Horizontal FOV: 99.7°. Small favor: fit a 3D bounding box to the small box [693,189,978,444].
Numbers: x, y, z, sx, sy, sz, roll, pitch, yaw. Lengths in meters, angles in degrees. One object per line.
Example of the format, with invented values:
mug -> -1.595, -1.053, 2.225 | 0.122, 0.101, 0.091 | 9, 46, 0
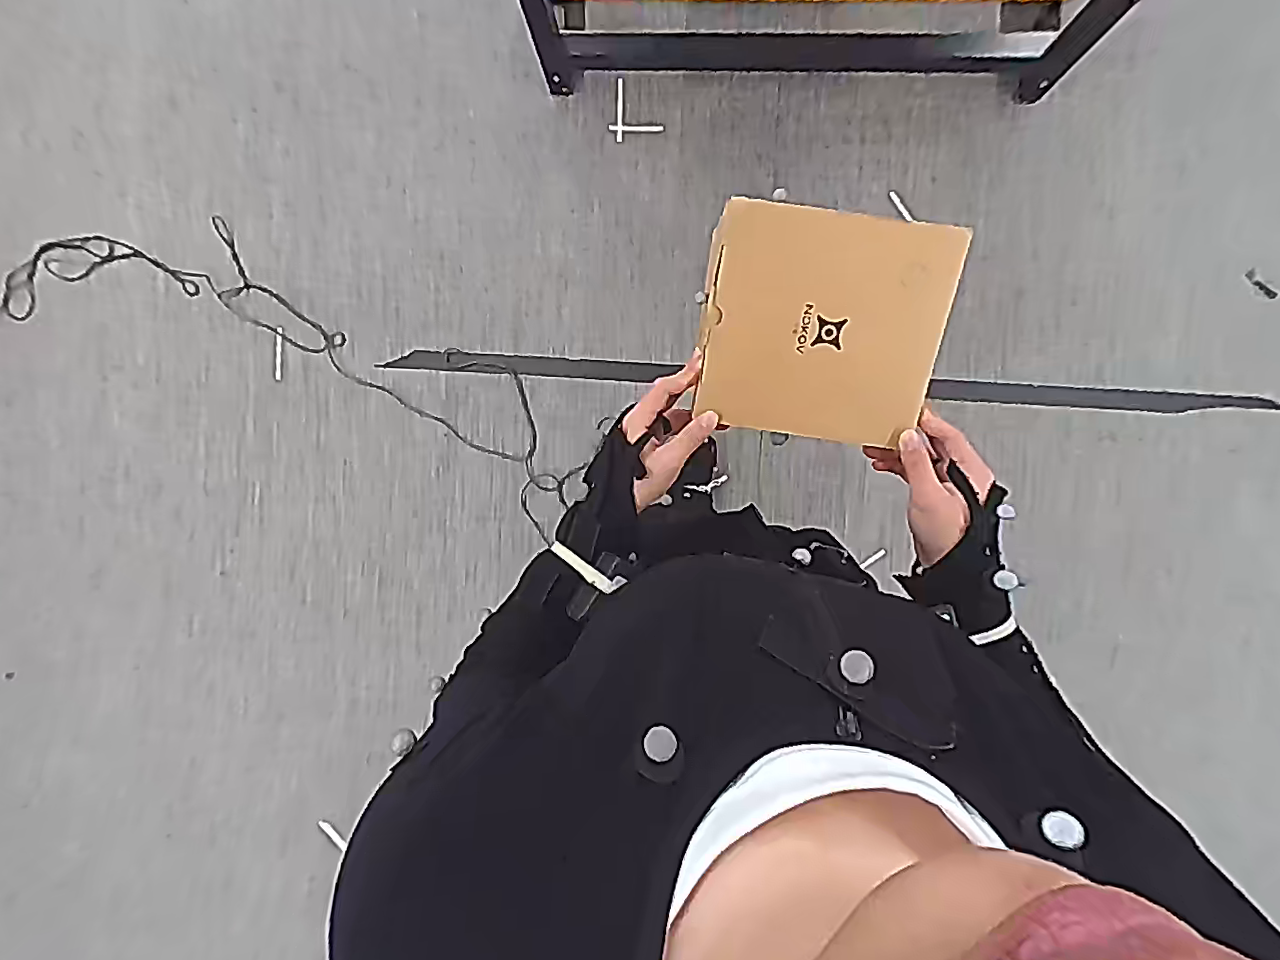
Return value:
small box -> 0.146, -0.141, 0.477 | 0.179, 0.176, 0.168 | 8, 108, 3
